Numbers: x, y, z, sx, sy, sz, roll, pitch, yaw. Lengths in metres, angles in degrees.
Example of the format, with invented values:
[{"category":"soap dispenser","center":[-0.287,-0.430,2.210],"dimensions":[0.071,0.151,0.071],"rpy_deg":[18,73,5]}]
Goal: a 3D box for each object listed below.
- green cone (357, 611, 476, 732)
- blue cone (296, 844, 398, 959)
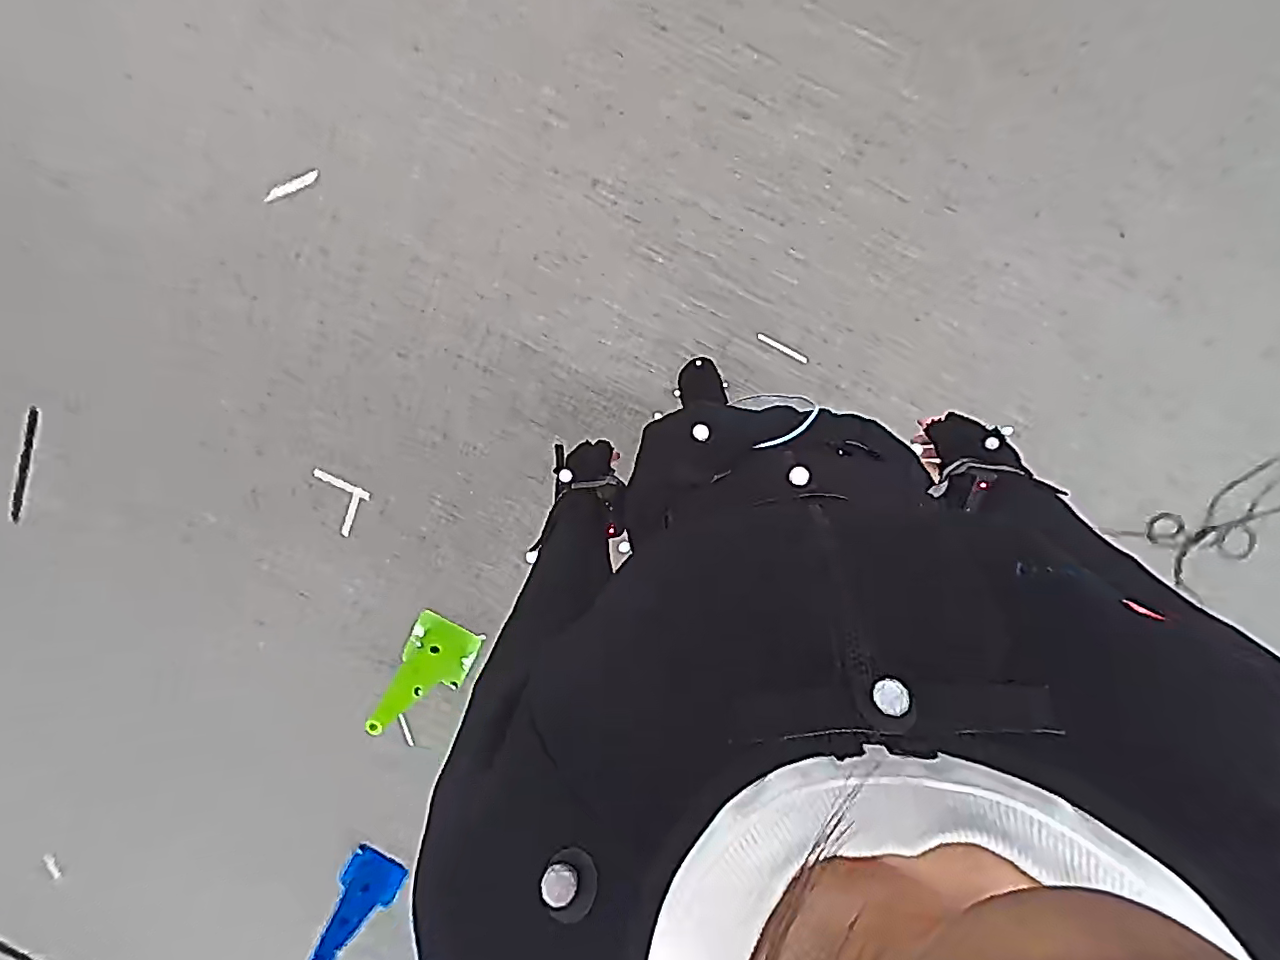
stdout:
[{"category":"green cone","center":[-0.626,0.542,1.450],"dimensions":[0.202,0.368,0.200],"rpy_deg":[28,103,1]},{"category":"blue cone","center":[-0.945,1.373,1.678],"dimensions":[0.192,0.380,0.193],"rpy_deg":[32,103,-1]}]
